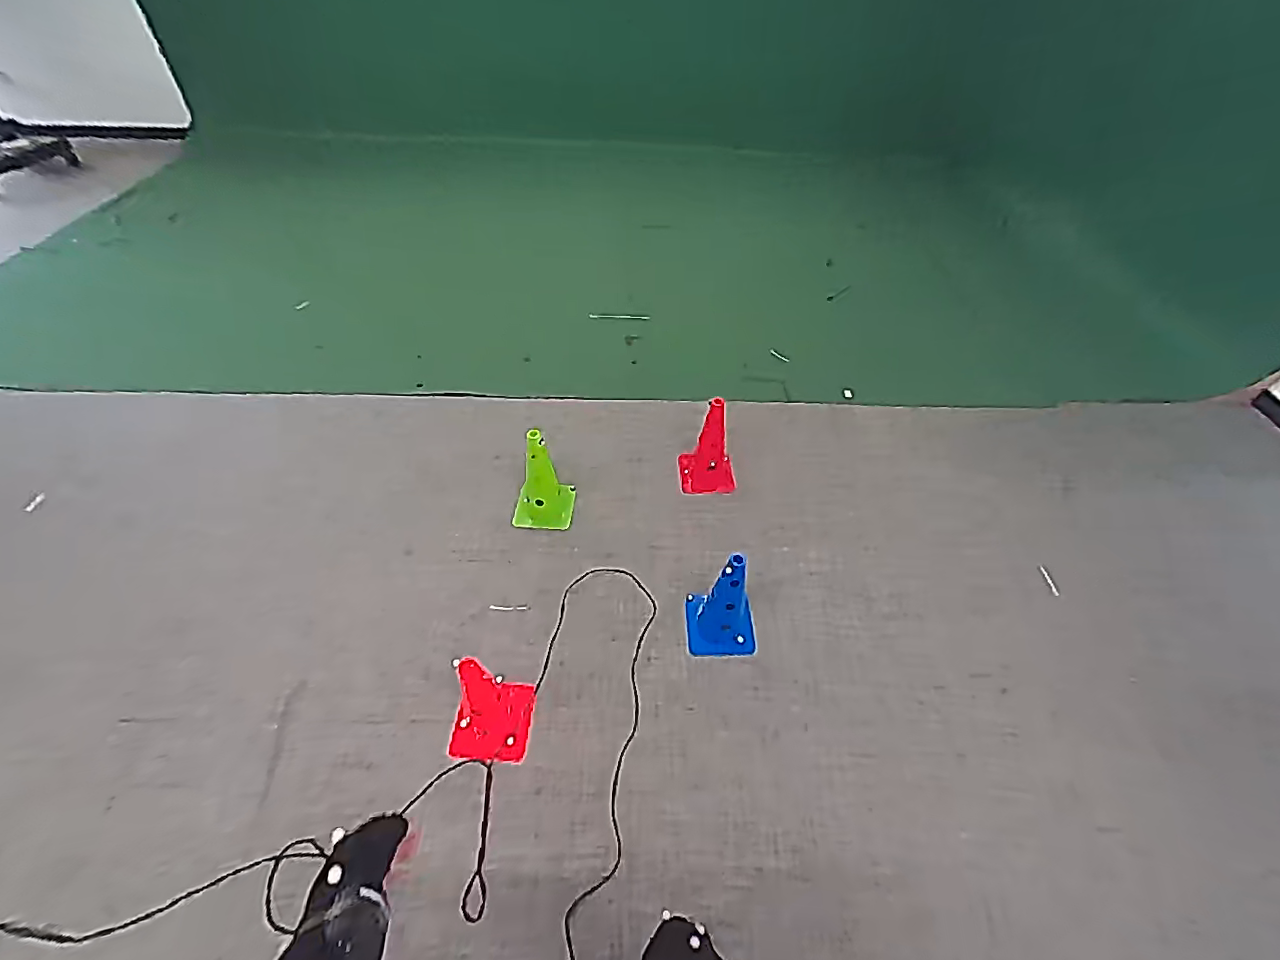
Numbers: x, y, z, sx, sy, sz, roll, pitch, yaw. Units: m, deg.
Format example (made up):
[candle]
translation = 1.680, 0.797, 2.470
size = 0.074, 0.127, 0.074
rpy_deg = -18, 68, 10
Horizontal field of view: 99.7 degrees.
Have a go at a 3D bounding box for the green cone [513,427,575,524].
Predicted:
[green cone]
translation = -0.336, -0.038, 1.790
size = 0.200, 0.368, 0.202
rpy_deg = 2, 49, 1

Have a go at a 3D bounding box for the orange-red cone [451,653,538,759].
[orange-red cone]
translation = -0.375, 0.511, 1.308
size = 0.198, 0.360, 0.199
rpy_deg = 5, 47, 1
